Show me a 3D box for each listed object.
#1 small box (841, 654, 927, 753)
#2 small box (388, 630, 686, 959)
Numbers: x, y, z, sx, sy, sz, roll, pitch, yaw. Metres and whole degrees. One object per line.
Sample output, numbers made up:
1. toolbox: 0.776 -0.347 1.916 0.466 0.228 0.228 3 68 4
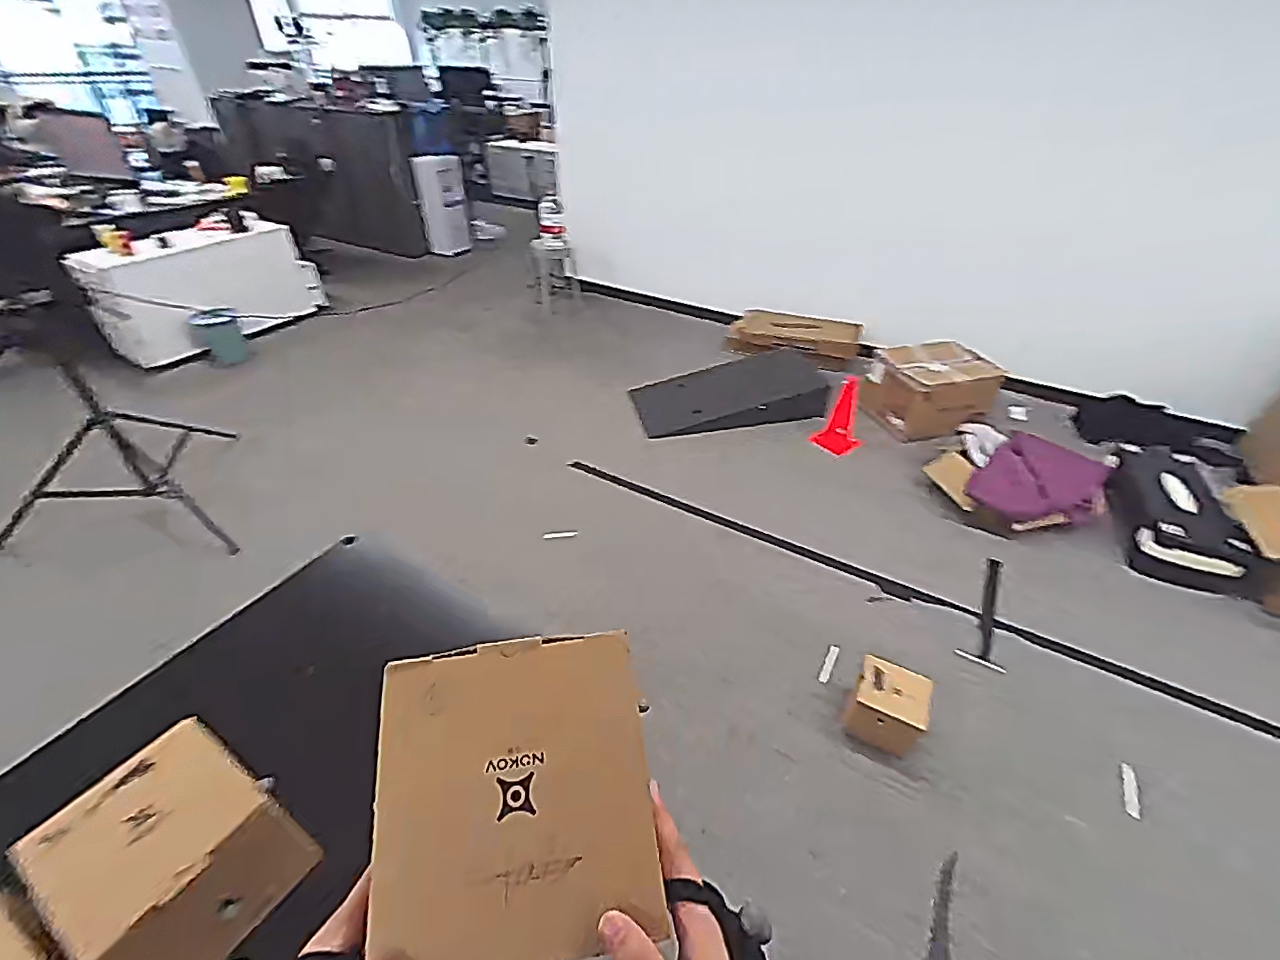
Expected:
1. small box: 0.689 0.638 1.537 0.179 0.176 0.168 19 42 20
2. small box: -0.070 0.227 0.405 0.168 0.176 0.179 -5 62 -7
